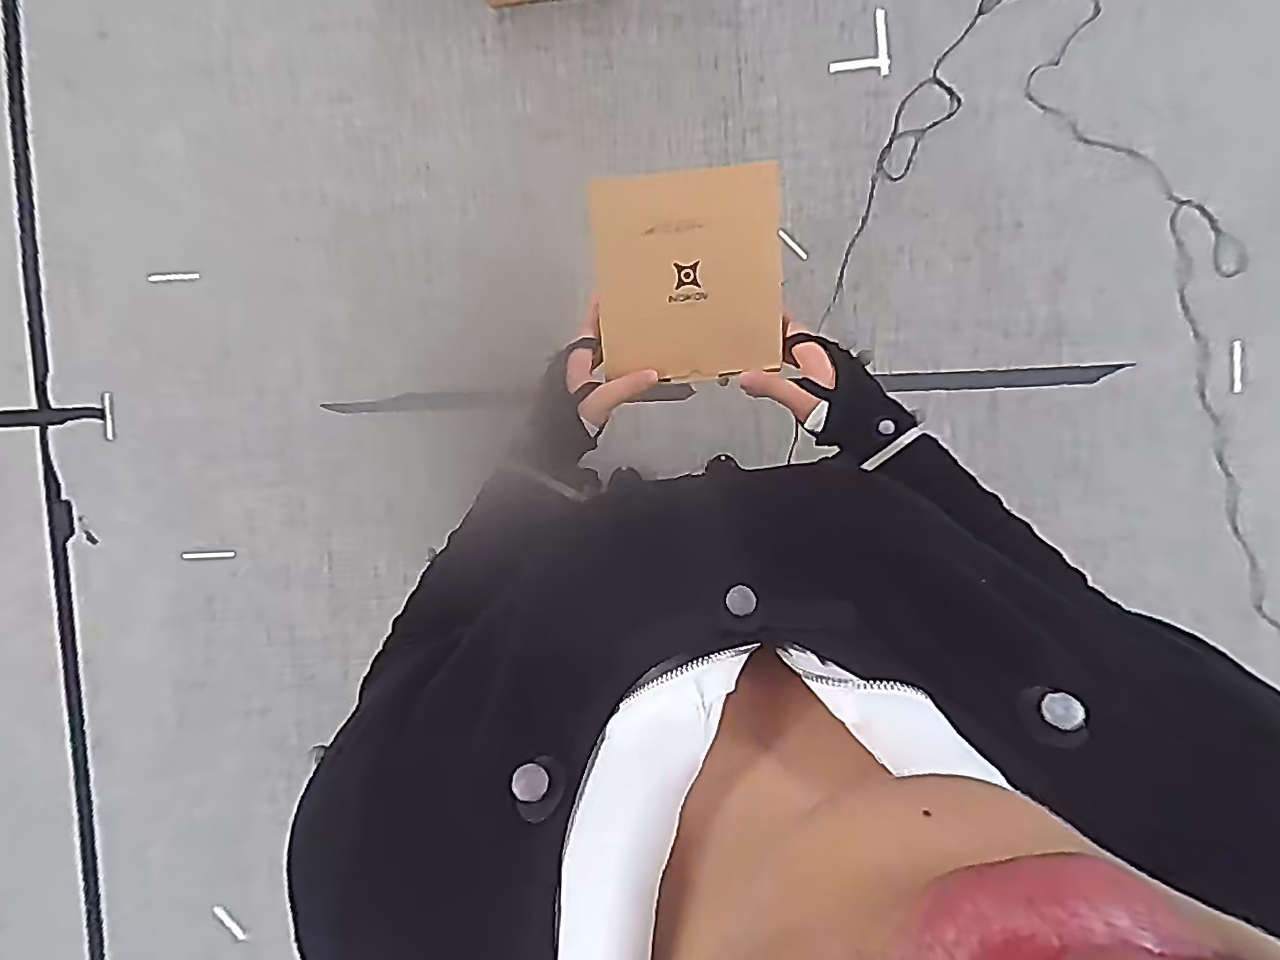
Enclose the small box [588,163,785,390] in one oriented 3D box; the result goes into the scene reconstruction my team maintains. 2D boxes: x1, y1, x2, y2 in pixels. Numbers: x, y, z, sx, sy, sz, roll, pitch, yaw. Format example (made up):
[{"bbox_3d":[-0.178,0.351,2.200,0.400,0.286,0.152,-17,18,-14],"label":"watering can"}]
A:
[{"bbox_3d":[0.045,-0.193,0.549,0.168,0.176,0.179,-6,104,1],"label":"small box"}]
